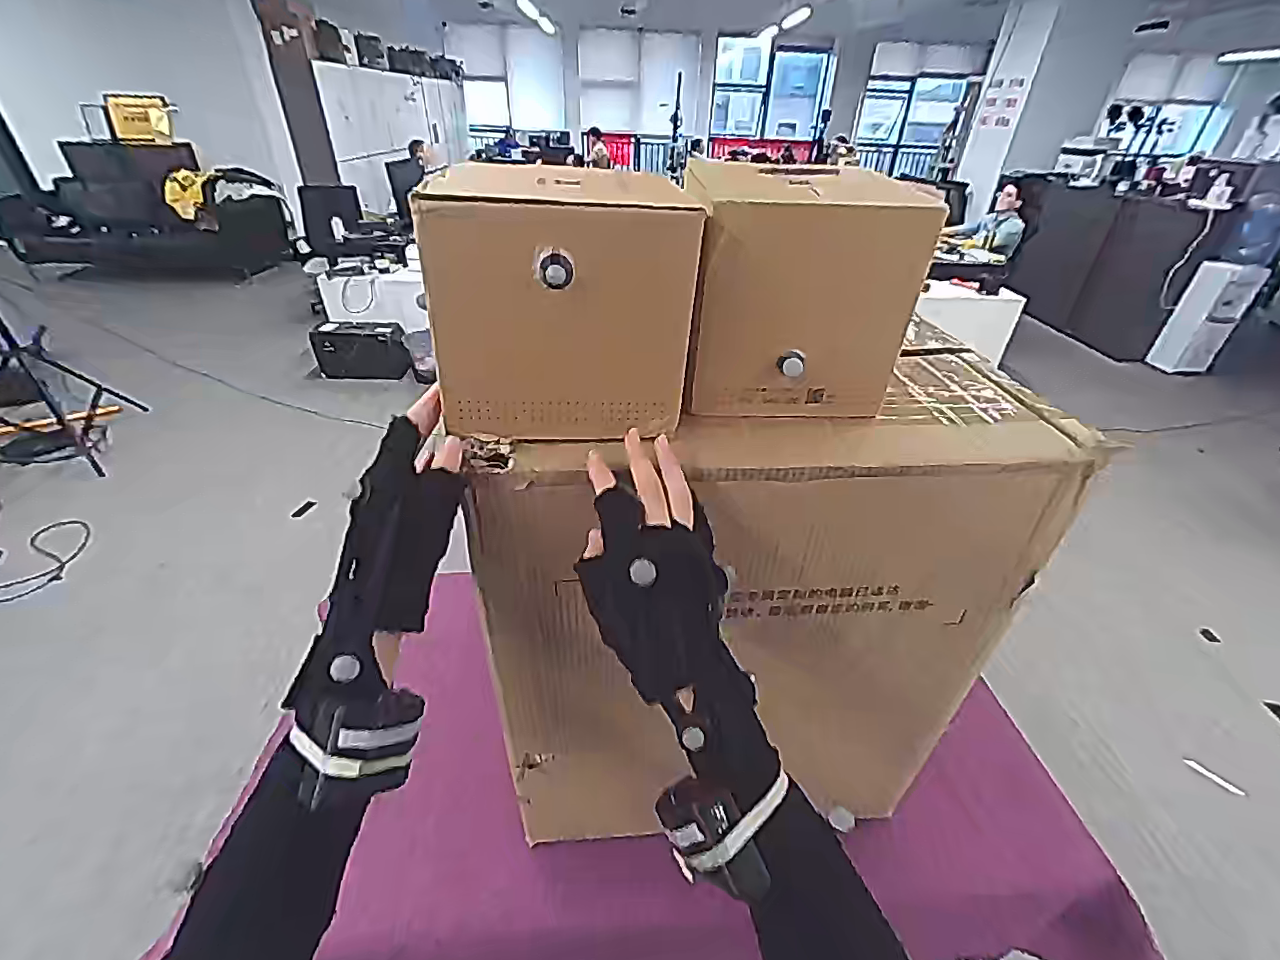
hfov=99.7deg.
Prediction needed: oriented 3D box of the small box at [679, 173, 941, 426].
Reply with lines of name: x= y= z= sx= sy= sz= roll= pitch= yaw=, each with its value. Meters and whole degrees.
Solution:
small box: x=0.121 y=-0.164 z=0.481 sx=0.168 sy=0.176 sz=0.179 roll=0 pitch=37 yaw=-2

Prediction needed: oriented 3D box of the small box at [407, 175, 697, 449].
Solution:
small box: x=-0.062 y=-0.135 z=0.429 sx=0.179 sy=0.176 sz=0.168 roll=0 pitch=35 yaw=-8
